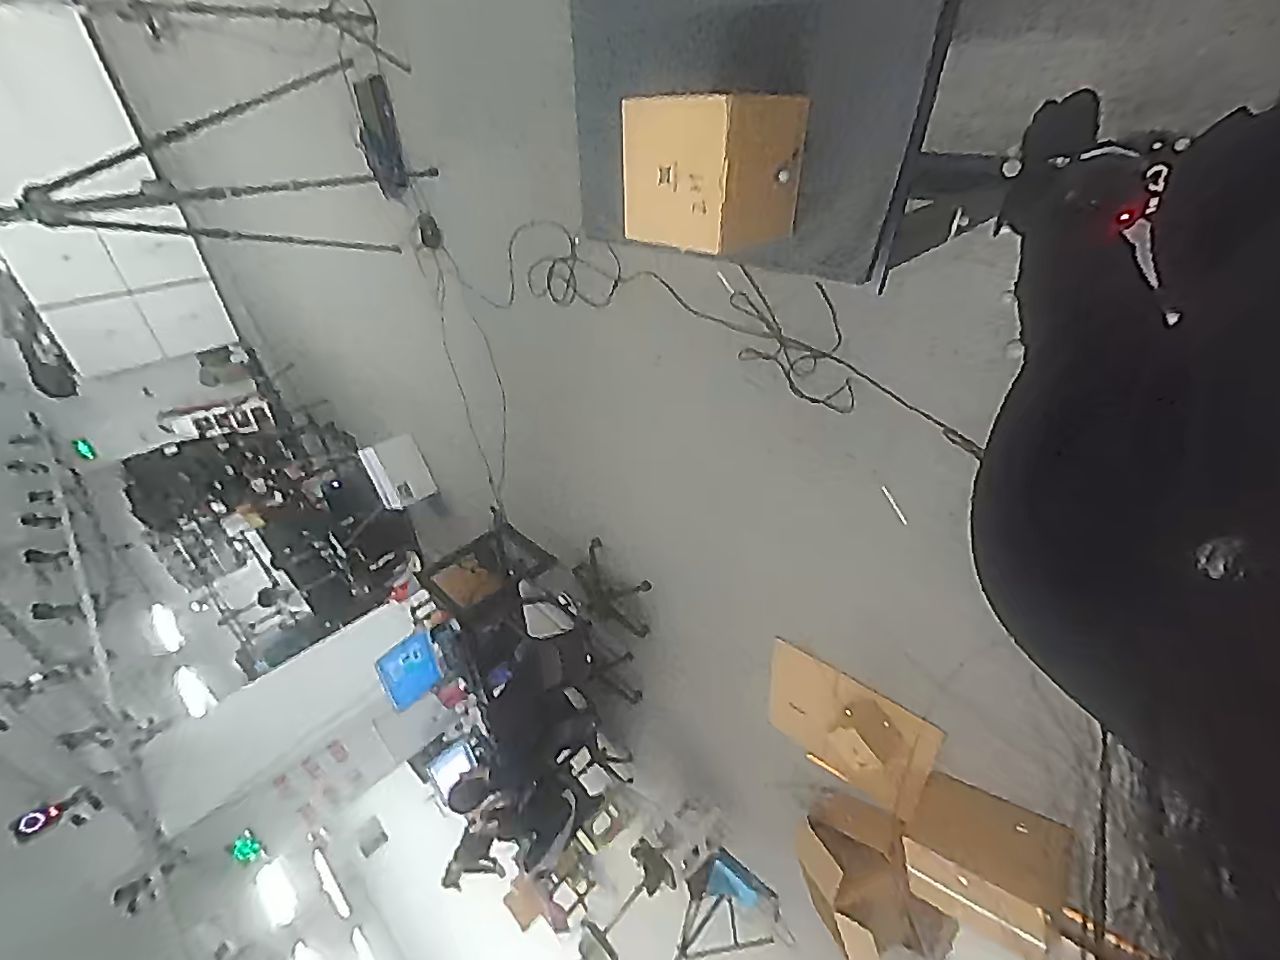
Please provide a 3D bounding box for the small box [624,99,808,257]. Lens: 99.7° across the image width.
[{"bbox_3d":[0.097,-0.412,0.731,0.179,0.176,0.168,29,134,37],"label":"small box"}]
